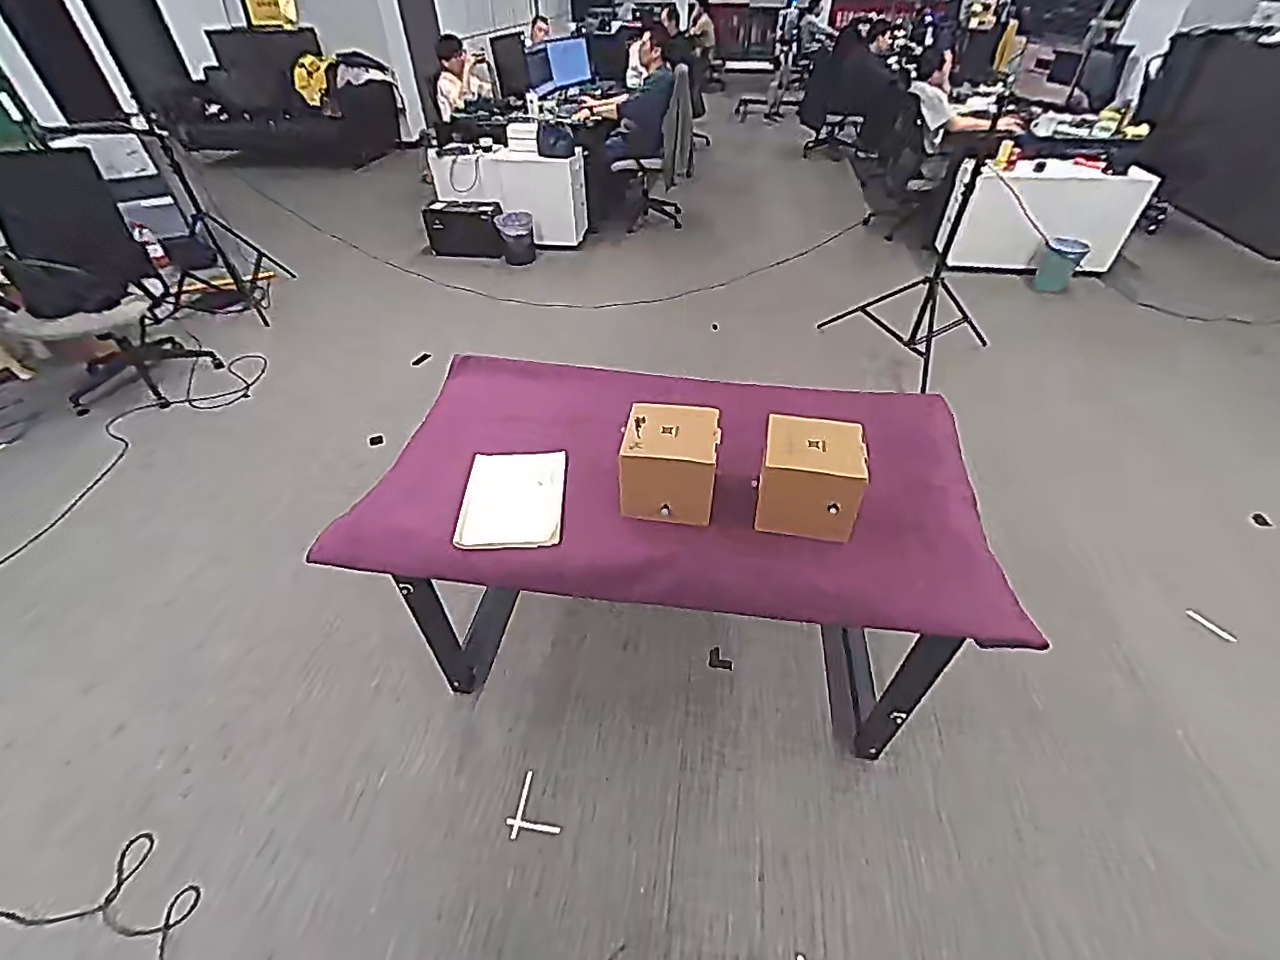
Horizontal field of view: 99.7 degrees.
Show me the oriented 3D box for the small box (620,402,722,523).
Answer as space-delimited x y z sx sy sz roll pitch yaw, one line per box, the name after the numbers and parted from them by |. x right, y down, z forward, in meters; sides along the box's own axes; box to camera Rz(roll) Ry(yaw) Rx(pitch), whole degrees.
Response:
0.062 -0.033 1.071 0.179 0.176 0.168 6 43 7 | small box

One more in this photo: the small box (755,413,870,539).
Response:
0.324 -0.006 1.038 0.179 0.176 0.168 7 41 11 | small box
